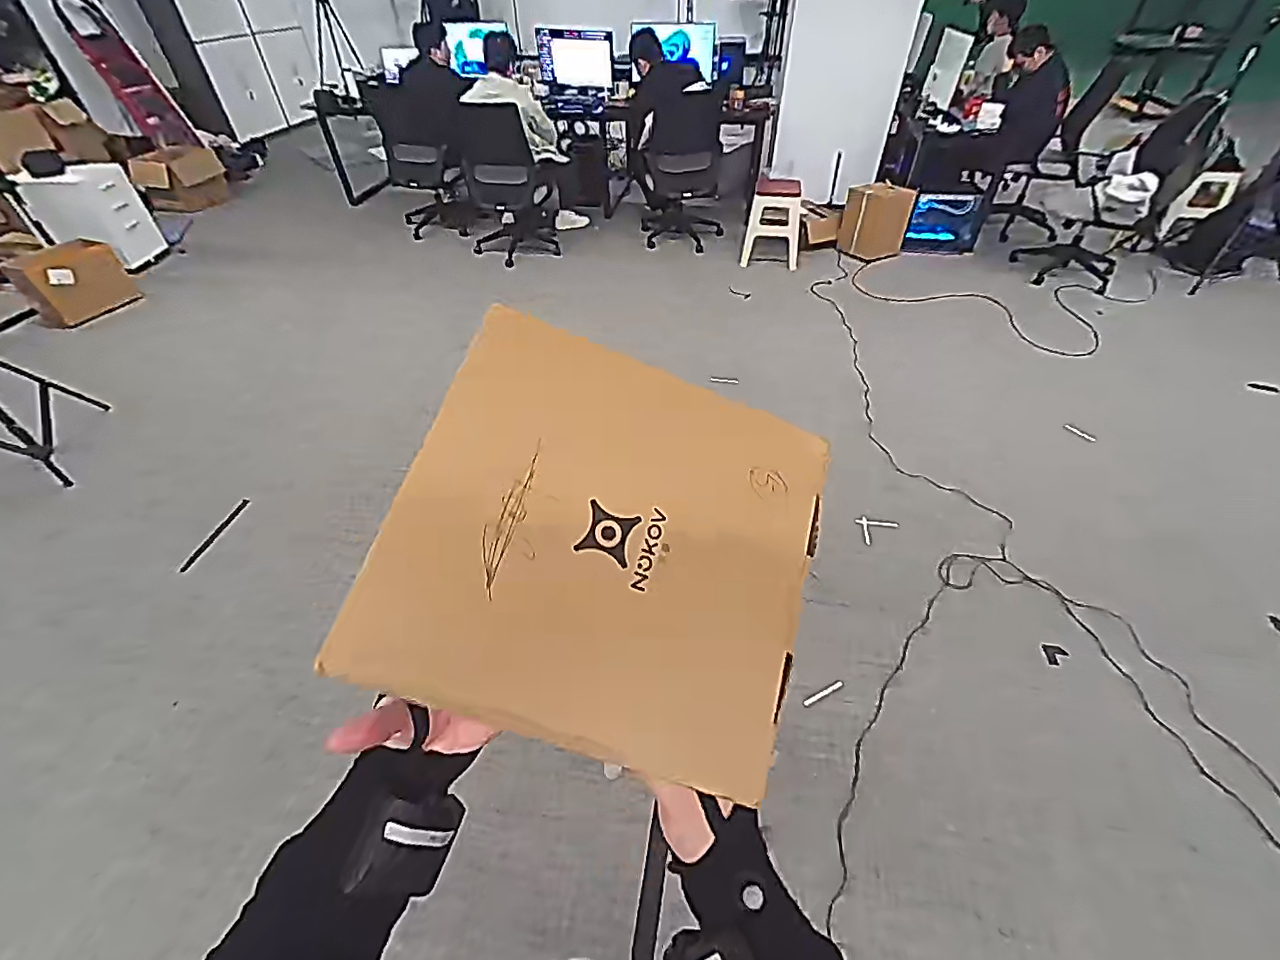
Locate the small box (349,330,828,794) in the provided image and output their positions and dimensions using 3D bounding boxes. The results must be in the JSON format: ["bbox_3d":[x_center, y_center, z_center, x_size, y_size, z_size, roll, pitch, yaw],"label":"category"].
[{"bbox_3d":[-0.024,0.052,0.311,0.179,0.176,0.168,19,69,-8],"label":"small box"}]
